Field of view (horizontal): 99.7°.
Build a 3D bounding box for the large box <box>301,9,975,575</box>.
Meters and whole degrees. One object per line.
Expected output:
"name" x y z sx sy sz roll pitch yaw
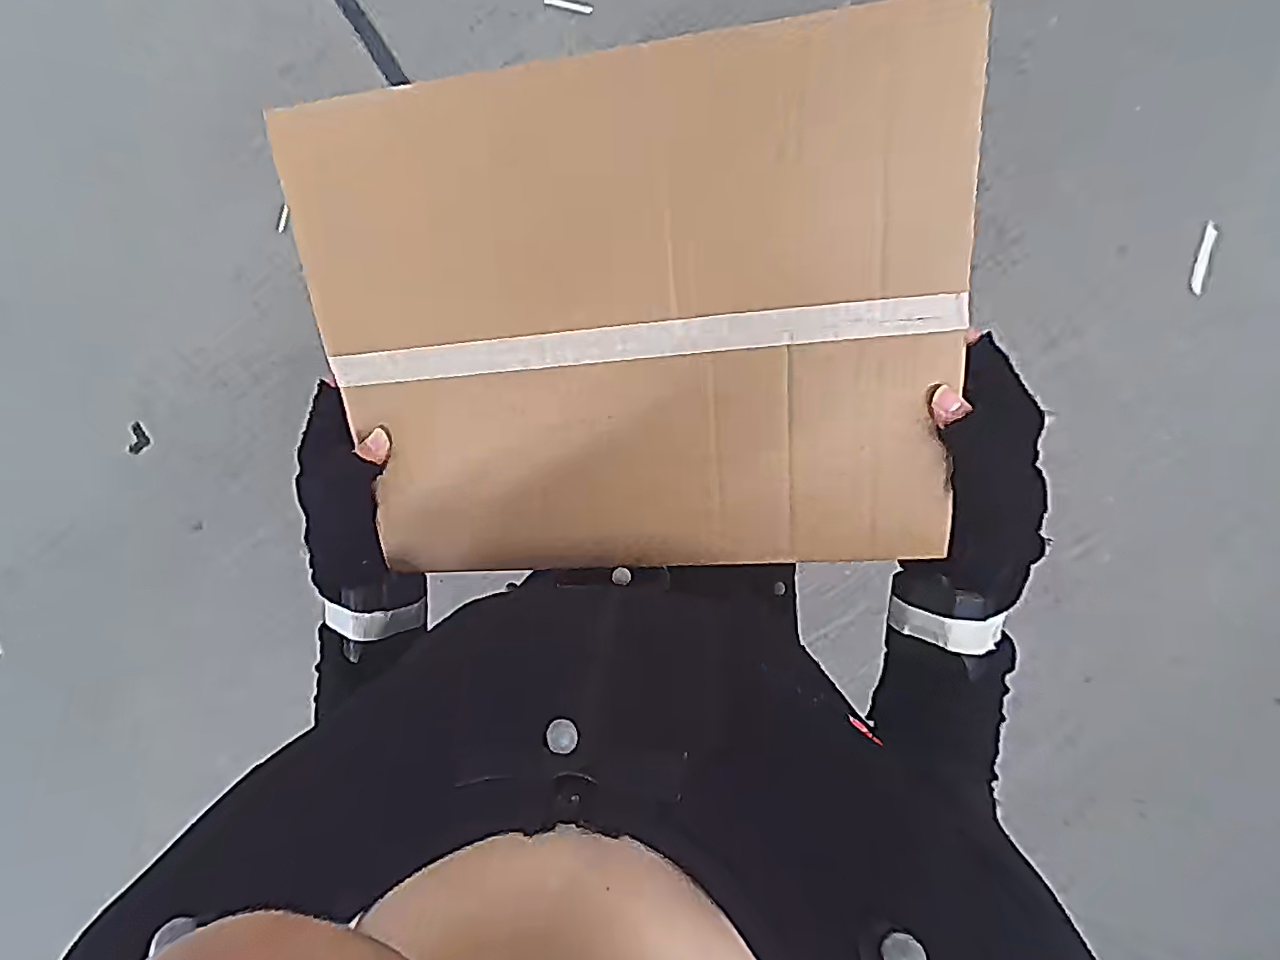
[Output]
"large box" 0.013 -0.129 0.493 0.408 0.320 0.320 -4 108 9
